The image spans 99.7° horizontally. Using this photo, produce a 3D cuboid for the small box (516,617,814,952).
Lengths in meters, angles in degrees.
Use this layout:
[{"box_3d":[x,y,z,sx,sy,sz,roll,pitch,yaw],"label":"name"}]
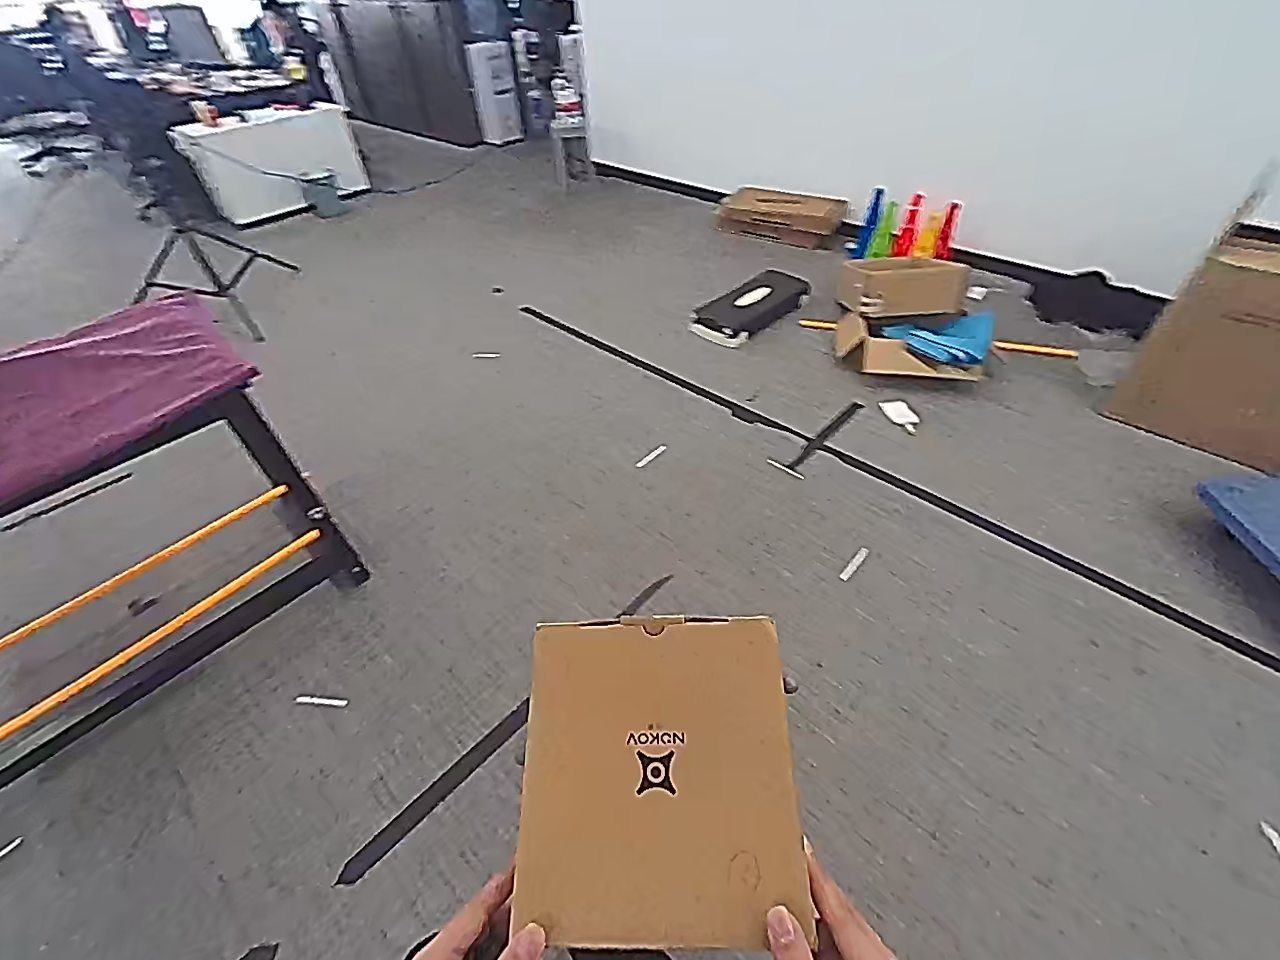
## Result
[{"box_3d":[0.018,0.213,0.399,0.168,0.176,0.179,-4,60,3],"label":"small box"}]
